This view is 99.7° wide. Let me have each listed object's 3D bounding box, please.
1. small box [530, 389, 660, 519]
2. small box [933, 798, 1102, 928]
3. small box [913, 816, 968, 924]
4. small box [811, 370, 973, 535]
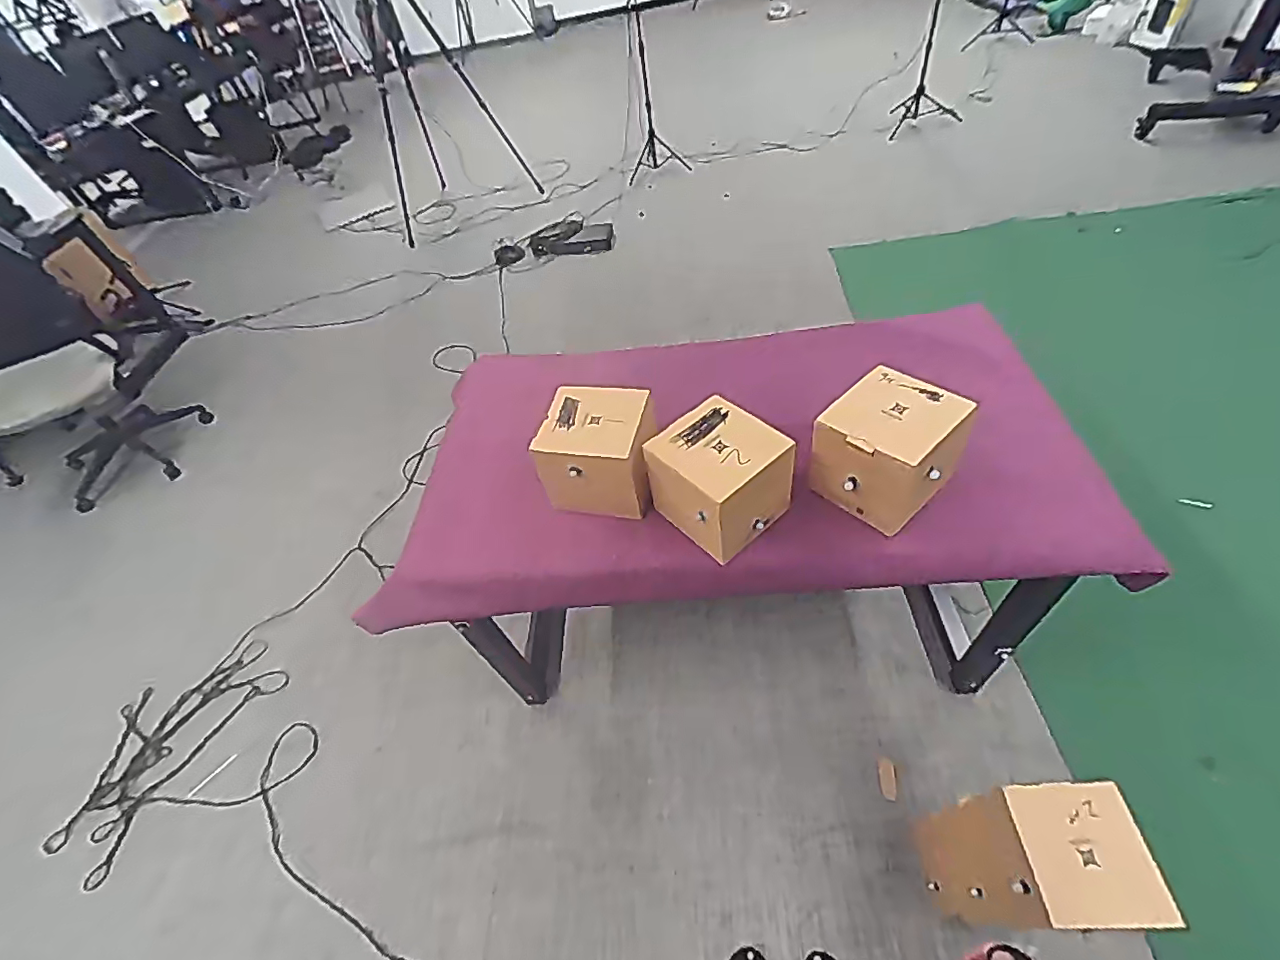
[{"bbox_3d":[-0.072,-0.045,0.984,0.179,0.176,0.168,6,51,15],"label":"small box"},{"bbox_3d":[0.653,0.686,0.966,0.168,0.176,0.179,-6,50,6],"label":"small box"},{"bbox_3d":[0.671,0.789,1.090,0.179,0.176,0.168,-4,49,7],"label":"small box"},{"bbox_3d":[0.400,-0.043,0.886,0.179,0.176,0.168,-38,52,-20],"label":"small box"}]
